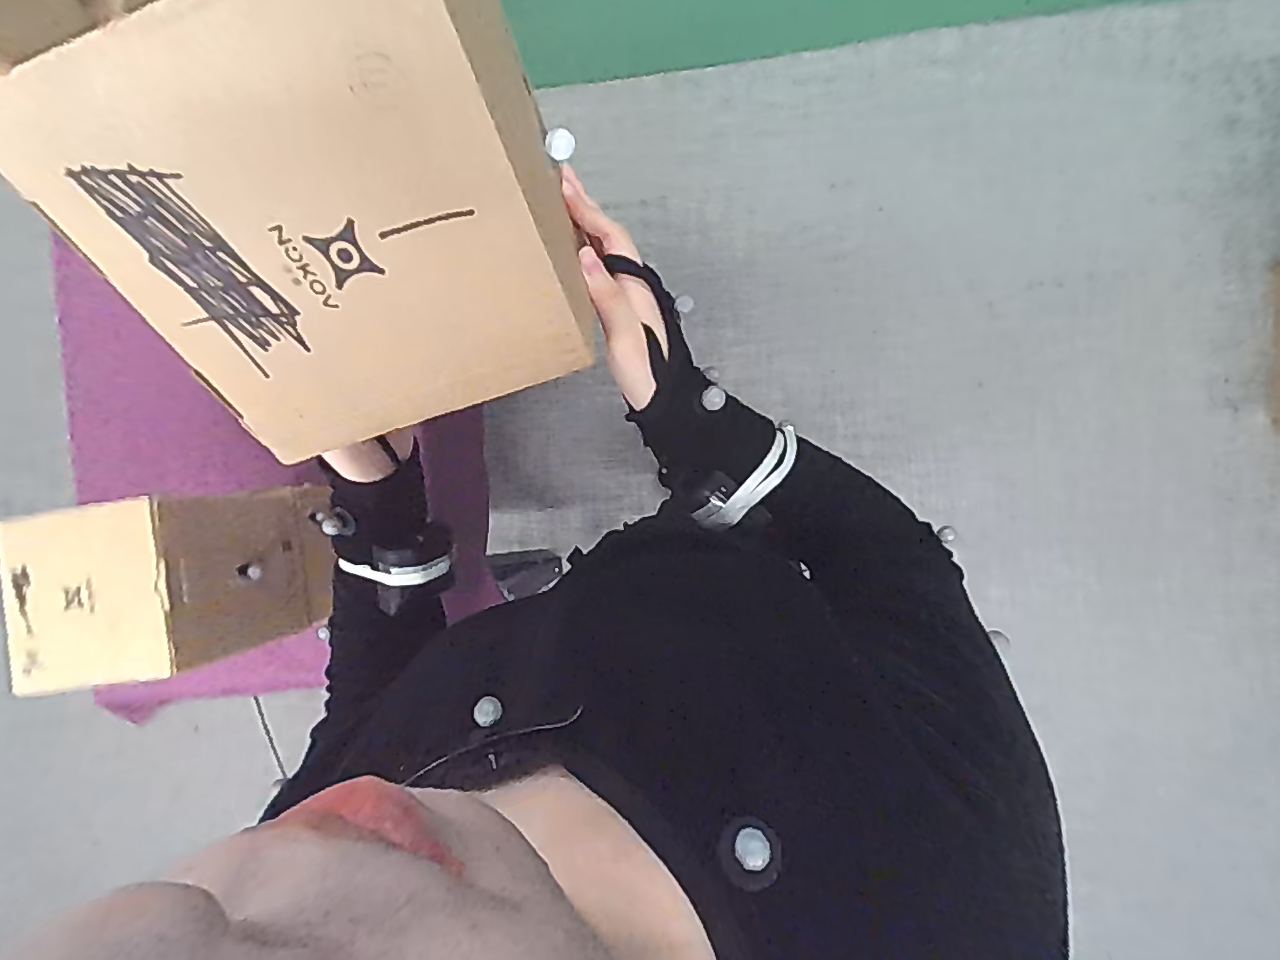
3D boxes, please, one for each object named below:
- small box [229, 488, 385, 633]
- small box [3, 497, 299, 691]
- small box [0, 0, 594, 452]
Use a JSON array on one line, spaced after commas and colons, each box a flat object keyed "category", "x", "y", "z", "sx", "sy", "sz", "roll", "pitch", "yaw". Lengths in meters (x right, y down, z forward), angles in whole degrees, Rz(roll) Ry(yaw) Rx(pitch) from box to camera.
[{"category": "small box", "x": -0.476, "y": 0.107, "z": 0.745, "sx": 0.168, "sy": 0.176, "sz": 0.179, "roll": -8, "pitch": 88, "yaw": 8}, {"category": "small box", "x": -0.501, "y": 0.109, "z": 0.582, "sx": 0.179, "sy": 0.176, "sz": 0.168, "roll": -8, "pitch": 87, "yaw": 7}, {"category": "small box", "x": -0.130, "y": -0.145, "z": 0.286, "sx": 0.179, "sy": 0.176, "sz": 0.168, "roll": -15, "pitch": 129, "yaw": 8}]
